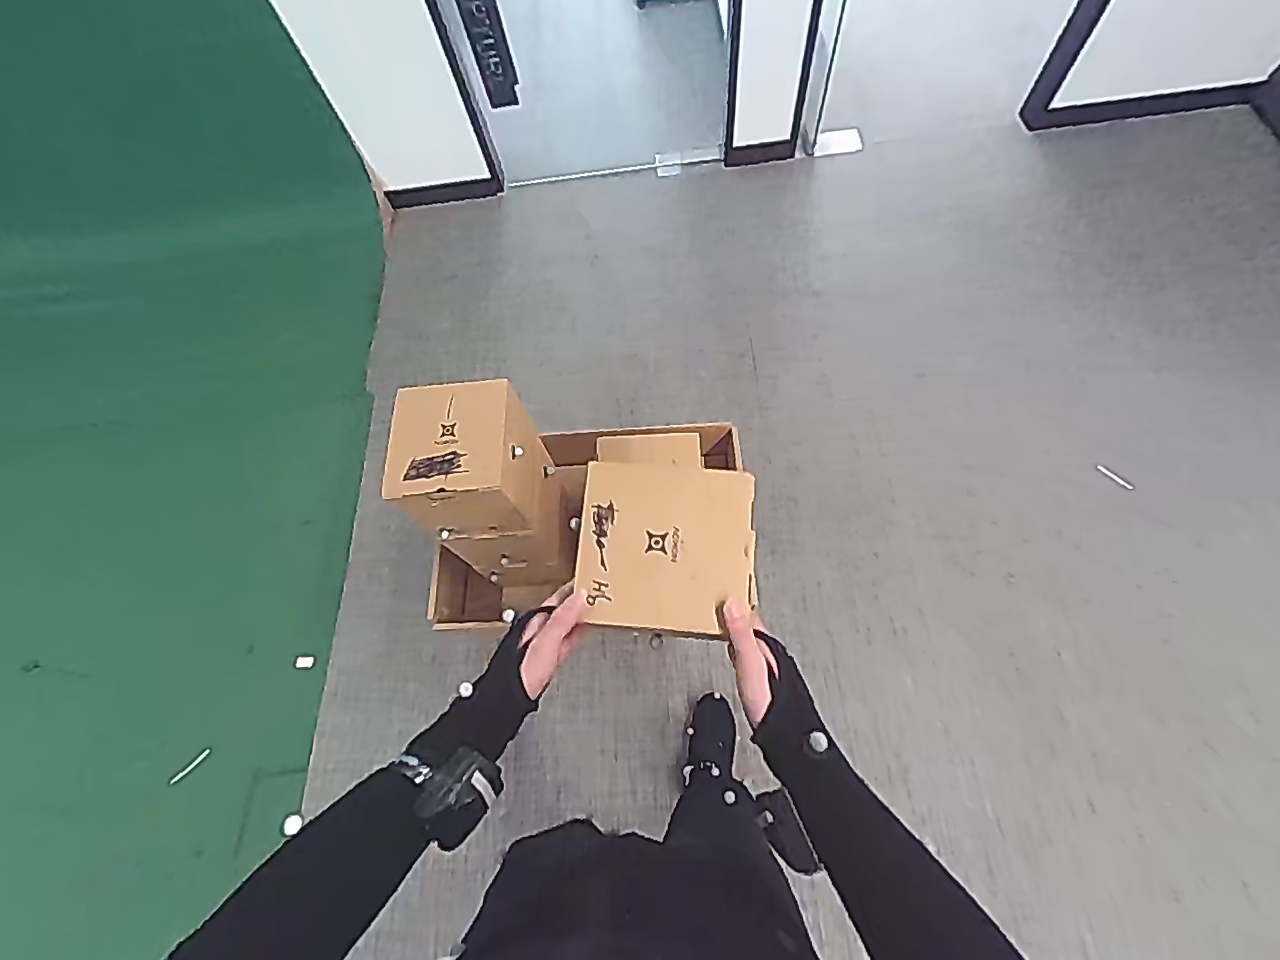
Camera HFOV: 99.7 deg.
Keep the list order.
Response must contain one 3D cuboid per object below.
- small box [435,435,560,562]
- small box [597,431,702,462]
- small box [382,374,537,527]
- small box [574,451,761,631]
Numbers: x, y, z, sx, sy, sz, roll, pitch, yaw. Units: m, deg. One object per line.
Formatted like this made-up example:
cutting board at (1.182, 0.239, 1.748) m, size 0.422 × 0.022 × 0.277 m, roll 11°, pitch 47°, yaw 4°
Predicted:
small box at (-0.241, 0.037, 0.960) m, size 0.168 × 0.176 × 0.179 m, roll -3°, pitch 66°, yaw 3°
small box at (0.020, 0.025, 0.946) m, size 0.179 × 0.176 × 0.168 m, roll -1°, pitch 68°, yaw 3°
small box at (-0.256, -0.034, 0.812) m, size 0.168 × 0.176 × 0.179 m, roll -4°, pitch 65°, yaw 2°
small box at (0.030, 0.079, 0.613) m, size 0.179 × 0.176 × 0.168 m, roll 5°, pitch 72°, yaw 2°
